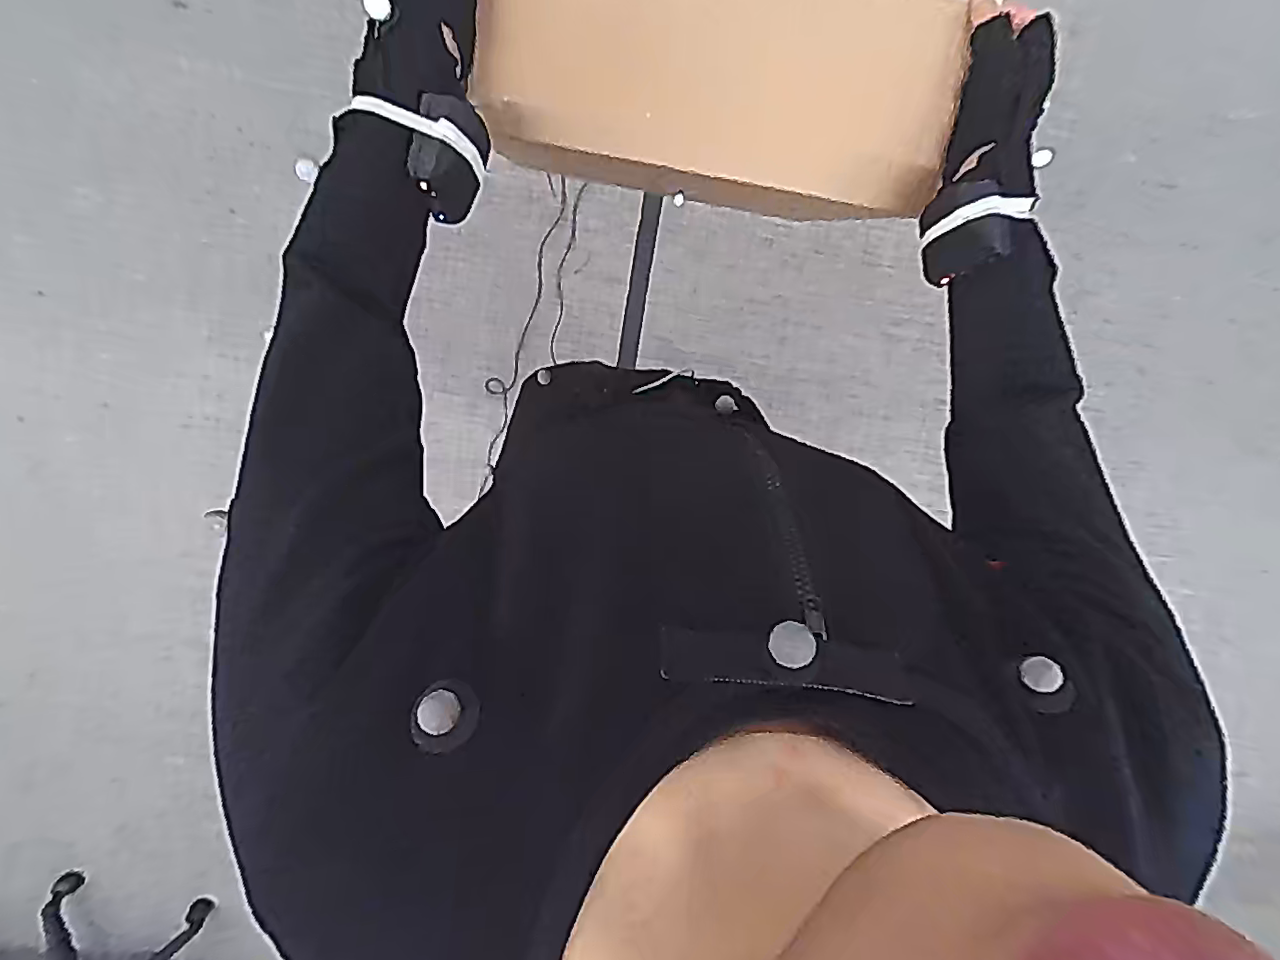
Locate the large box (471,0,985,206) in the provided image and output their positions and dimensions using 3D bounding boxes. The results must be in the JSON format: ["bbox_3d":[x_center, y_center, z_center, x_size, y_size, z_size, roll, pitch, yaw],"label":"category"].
[{"bbox_3d":[0.071,-0.469,0.534,0.408,0.320,0.320,6,114,-8],"label":"large box"}]
